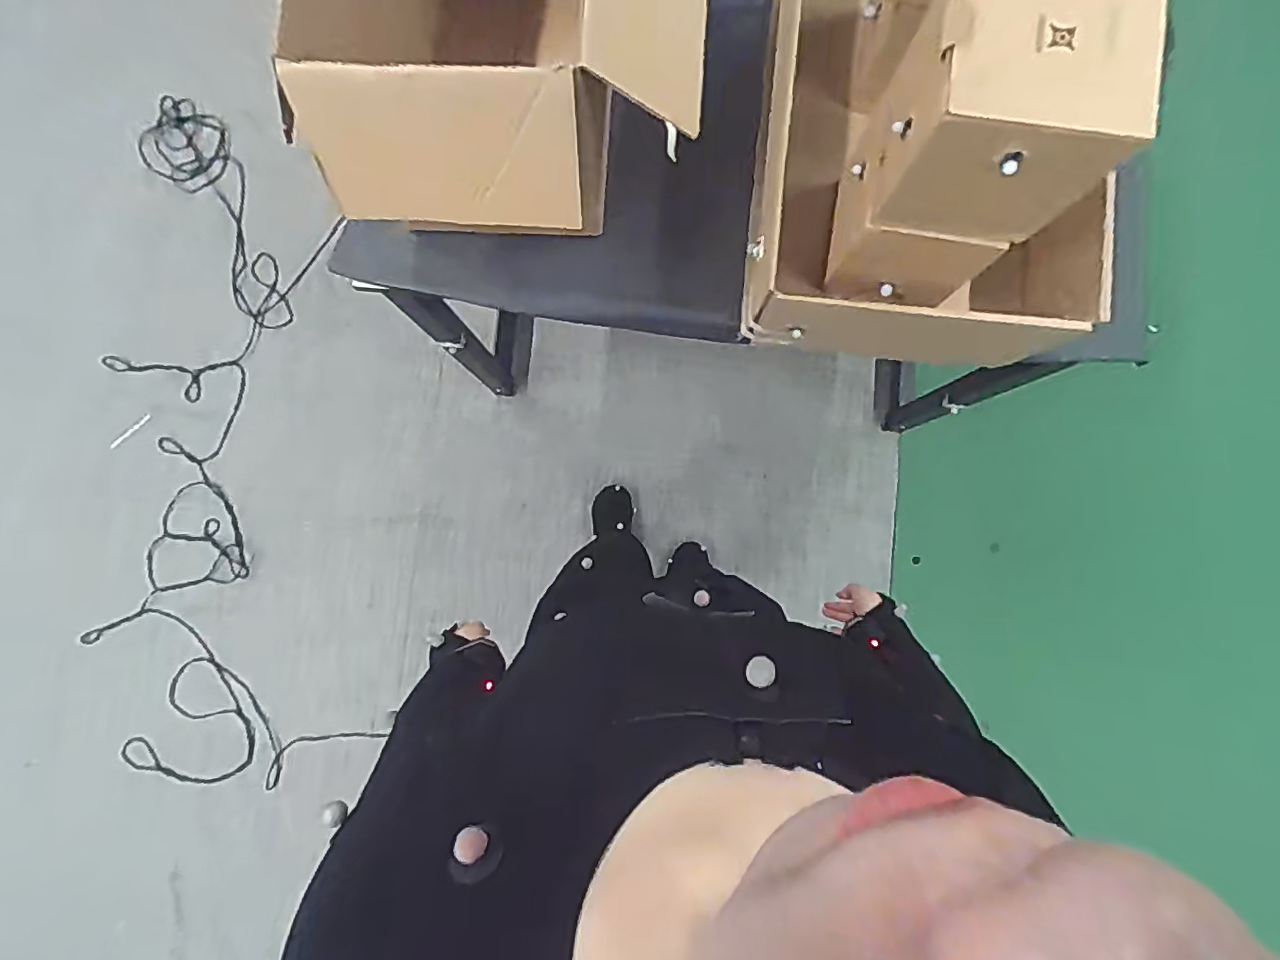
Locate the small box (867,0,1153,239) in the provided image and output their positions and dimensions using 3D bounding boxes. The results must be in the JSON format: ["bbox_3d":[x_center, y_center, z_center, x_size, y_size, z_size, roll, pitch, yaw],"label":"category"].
[{"bbox_3d":[0.353,-0.370,0.549,0.179,0.176,0.168,9,86,1],"label":"small box"}]
